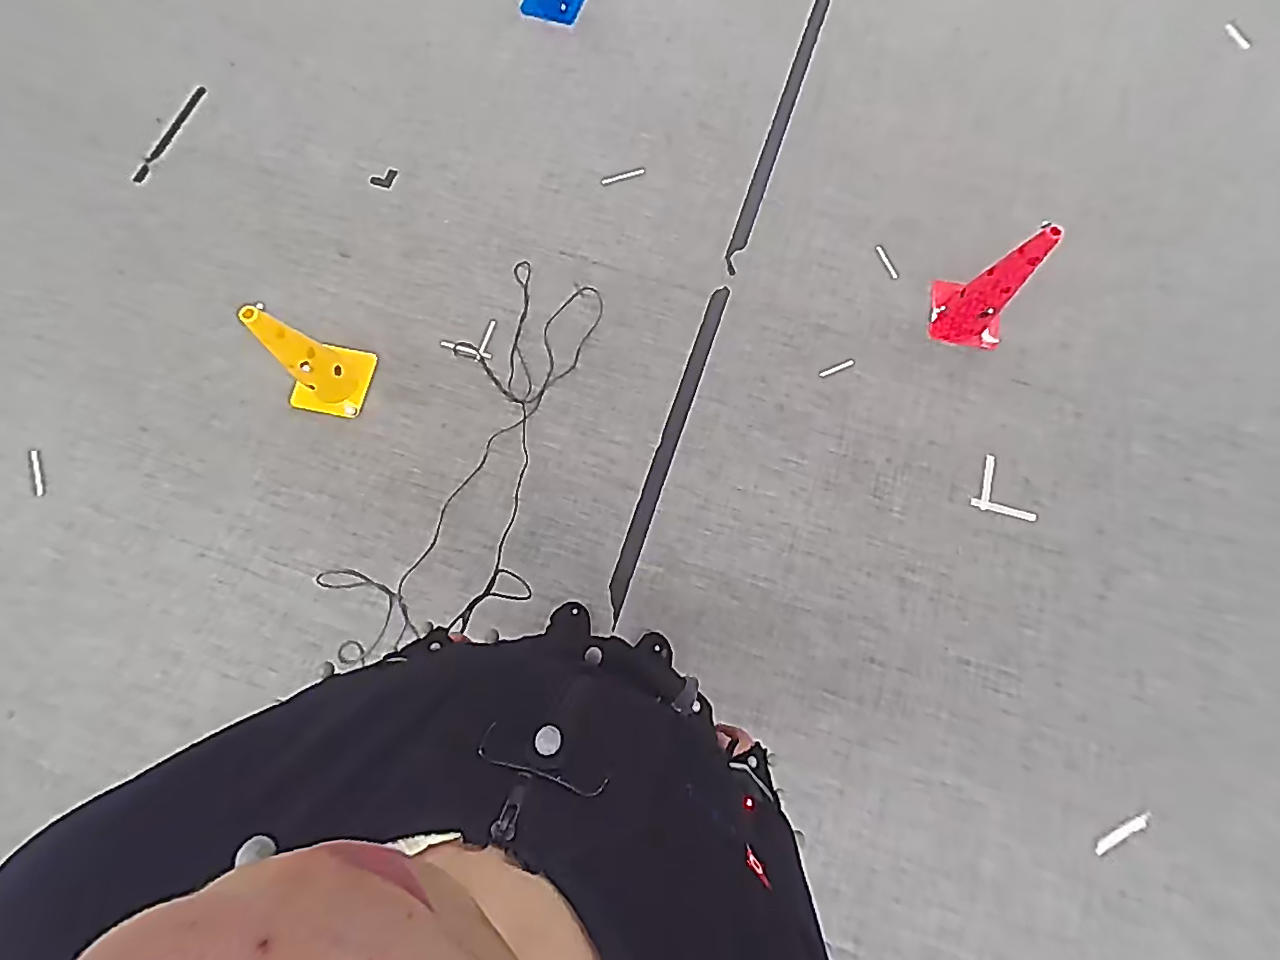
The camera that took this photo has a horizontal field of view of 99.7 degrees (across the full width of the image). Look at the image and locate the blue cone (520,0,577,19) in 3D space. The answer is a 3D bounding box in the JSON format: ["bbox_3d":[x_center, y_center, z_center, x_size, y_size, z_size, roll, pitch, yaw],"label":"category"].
[{"bbox_3d":[-0.309,-1.721,1.714,0.192,0.380,0.193,18,77,6],"label":"blue cone"}]

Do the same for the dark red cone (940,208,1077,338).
[{"bbox_3d":[0.960,-0.545,1.388,0.201,0.394,0.202,10,76,4],"label":"dark red cone"}]
